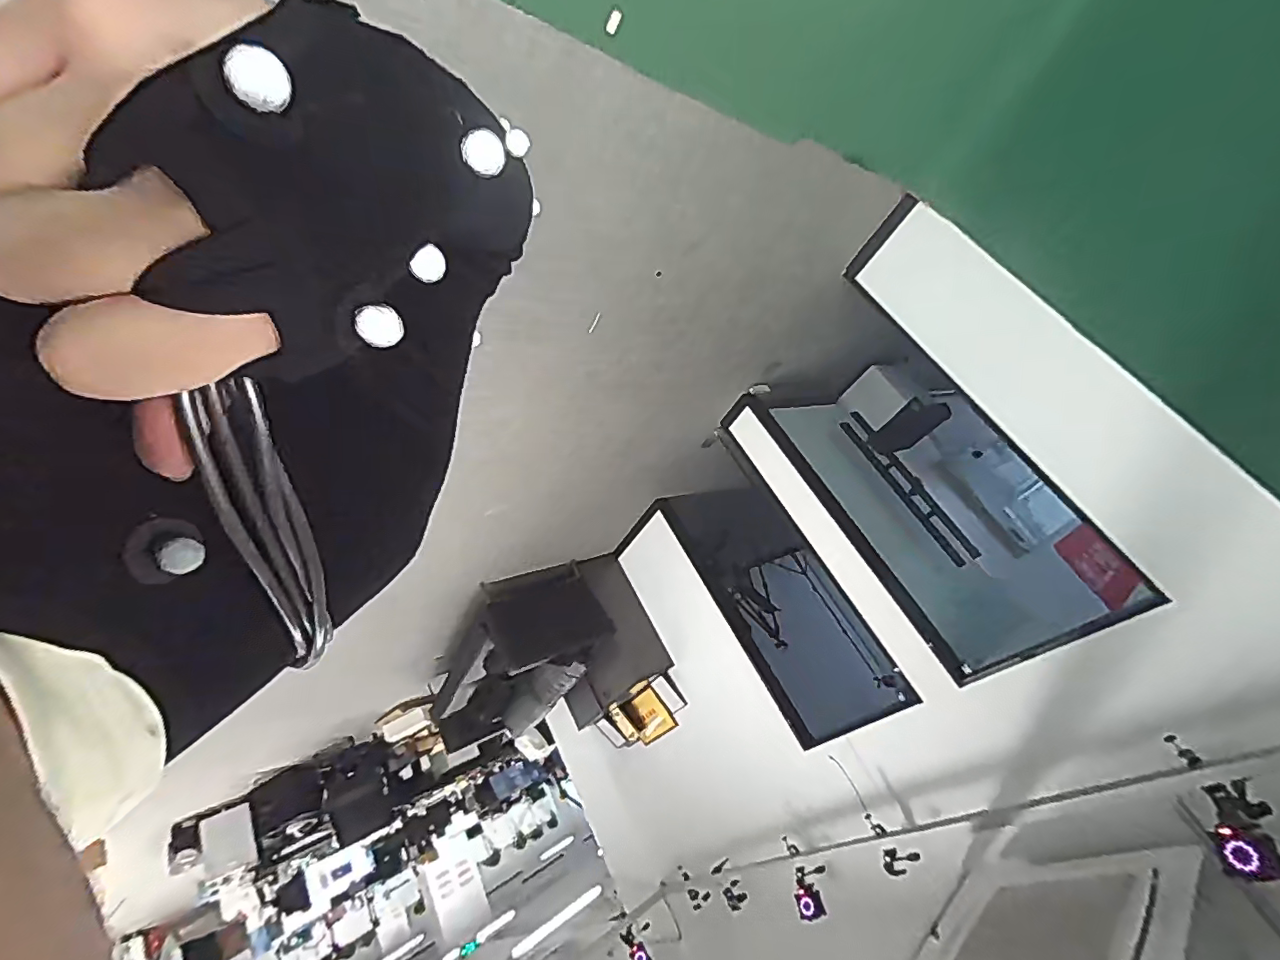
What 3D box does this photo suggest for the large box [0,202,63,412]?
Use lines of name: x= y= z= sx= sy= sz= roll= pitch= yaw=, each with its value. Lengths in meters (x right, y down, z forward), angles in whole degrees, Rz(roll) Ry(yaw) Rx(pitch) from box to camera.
large box: x=-1.245 y=-0.351 z=0.883 sx=0.320 sy=0.320 sz=0.408 roll=-13 pitch=151 yaw=-36
